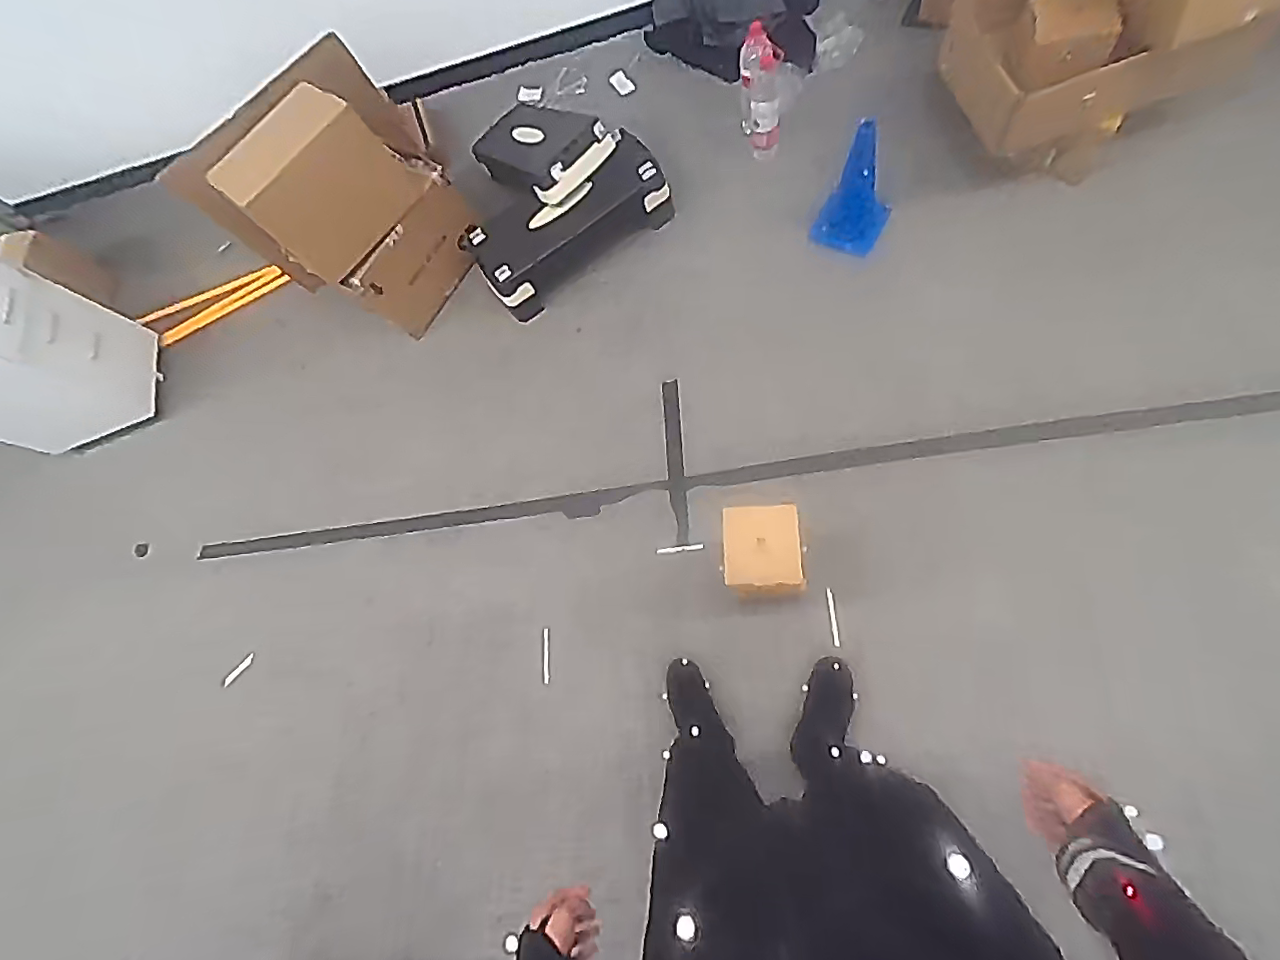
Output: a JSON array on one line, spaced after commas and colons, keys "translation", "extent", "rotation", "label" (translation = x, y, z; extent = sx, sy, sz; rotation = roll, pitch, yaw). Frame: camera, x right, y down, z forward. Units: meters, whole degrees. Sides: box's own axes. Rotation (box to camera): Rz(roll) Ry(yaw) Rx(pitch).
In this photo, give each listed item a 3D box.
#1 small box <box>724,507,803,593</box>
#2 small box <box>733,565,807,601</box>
[{"translation": [0.285, 0.168, 1.259], "extent": [0.168, 0.176, 0.179], "rotation": [-4, 74, 12], "label": "small box"}, {"translation": [0.327, 0.223, 1.407], "extent": [0.179, 0.176, 0.168], "rotation": [-9, 72, 12], "label": "small box"}]
